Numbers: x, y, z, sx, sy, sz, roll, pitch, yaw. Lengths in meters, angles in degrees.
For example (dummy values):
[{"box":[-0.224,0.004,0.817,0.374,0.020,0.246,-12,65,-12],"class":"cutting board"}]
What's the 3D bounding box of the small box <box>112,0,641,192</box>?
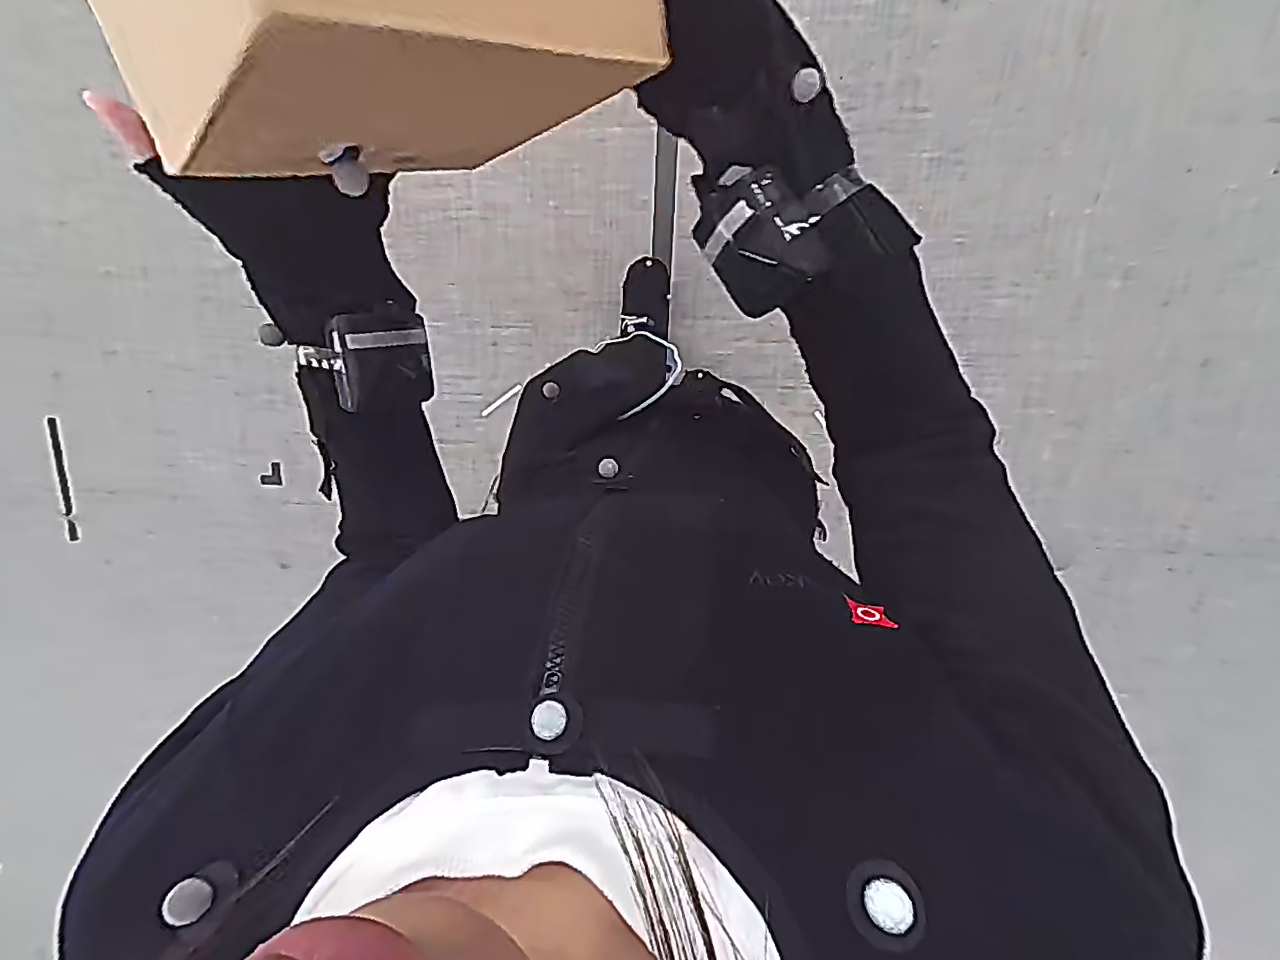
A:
[{"box":[-0.128,-0.244,0.231,0.176,0.168,0.179,11,121,45],"class":"small box"}]
